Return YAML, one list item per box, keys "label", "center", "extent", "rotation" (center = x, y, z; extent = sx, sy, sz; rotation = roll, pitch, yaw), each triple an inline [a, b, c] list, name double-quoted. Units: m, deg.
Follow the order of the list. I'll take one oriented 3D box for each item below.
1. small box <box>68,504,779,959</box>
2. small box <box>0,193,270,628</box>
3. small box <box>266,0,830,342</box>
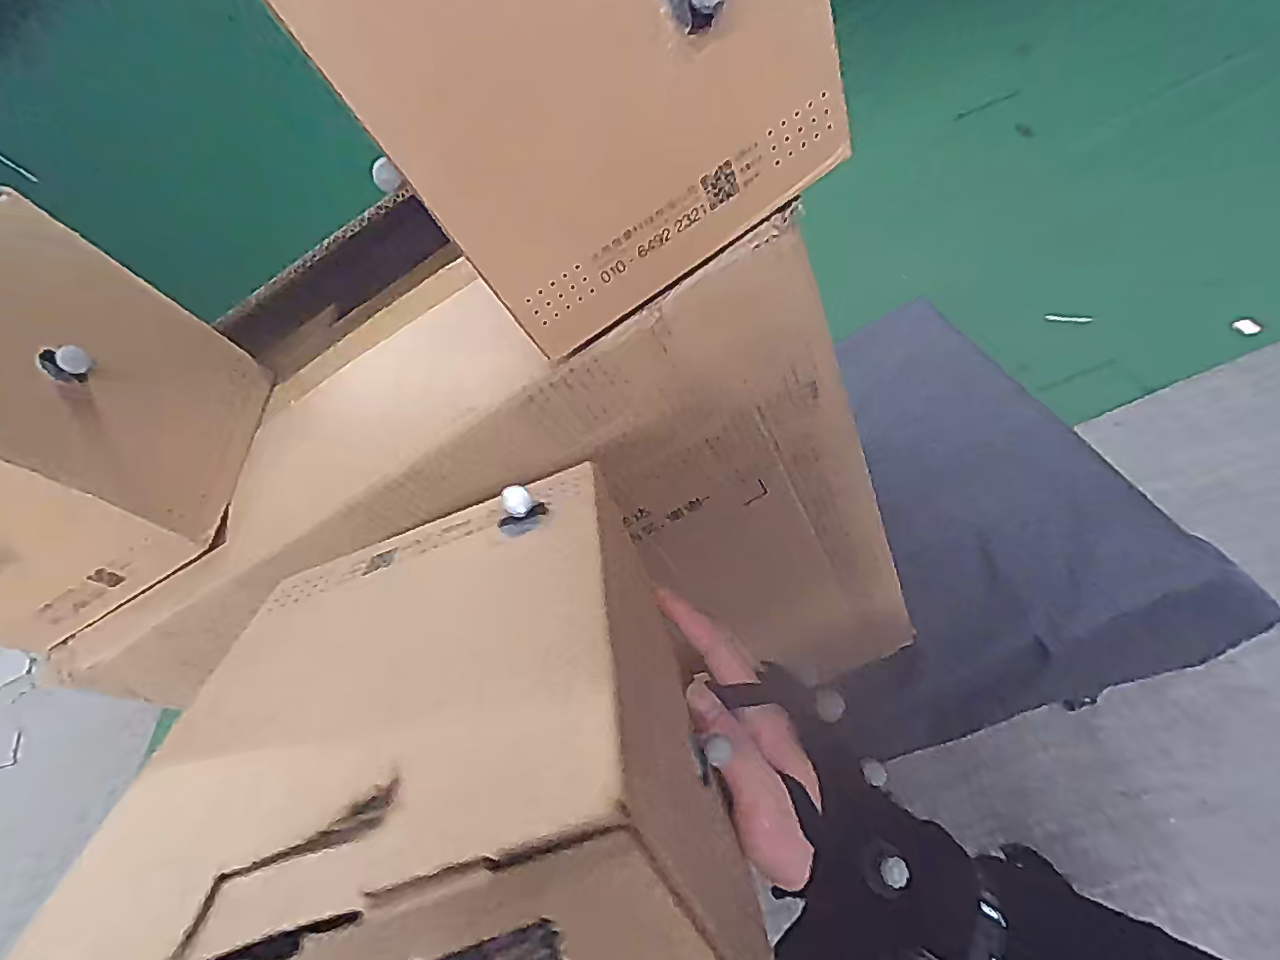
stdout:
- label: "small box"
  center: [-0.054, 0.130, 0.230]
  extent: [0.168, 0.179, 0.176]
  rotation: [-20, 29, 3]
- label: "small box"
  center: [-0.373, -0.027, 0.334]
  extent: [0.168, 0.176, 0.179]
  rotation: [-28, 49, 12]
- label: "small box"
  center: [-0.035, -0.193, 0.253]
  extent: [0.168, 0.176, 0.179]
  rotation: [-32, 47, 4]
